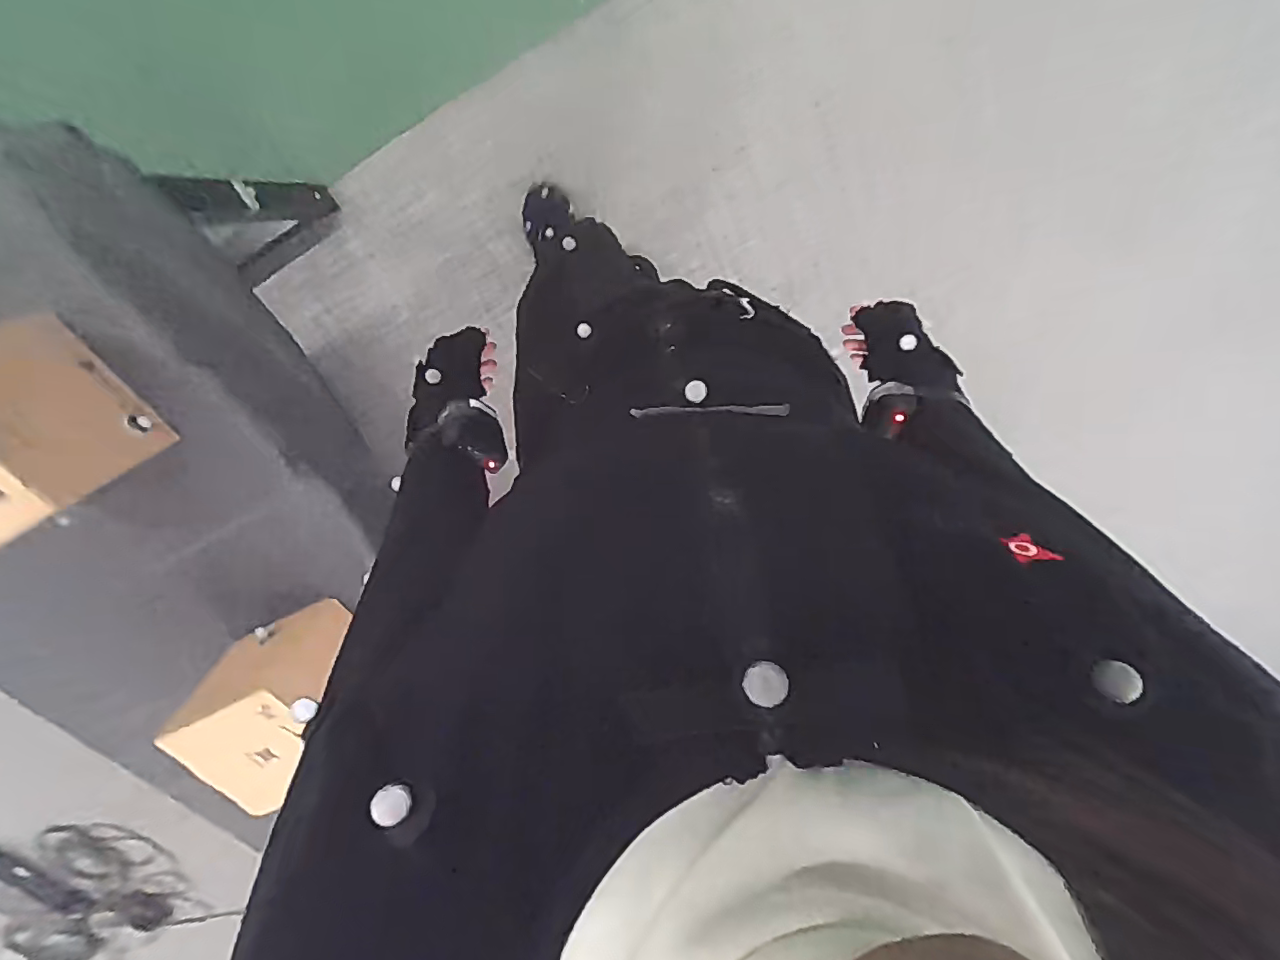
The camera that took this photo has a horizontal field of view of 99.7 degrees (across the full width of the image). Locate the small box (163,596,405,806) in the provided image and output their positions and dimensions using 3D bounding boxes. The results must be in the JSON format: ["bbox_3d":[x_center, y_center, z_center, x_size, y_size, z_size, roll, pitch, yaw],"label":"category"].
[{"bbox_3d":[-0.457,0.290,0.728,0.179,0.176,0.168,-26,116,11],"label":"small box"}]

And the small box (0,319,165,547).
[{"bbox_3d":[-0.643,-0.039,0.543,0.179,0.176,0.168,-25,116,11],"label":"small box"}]
